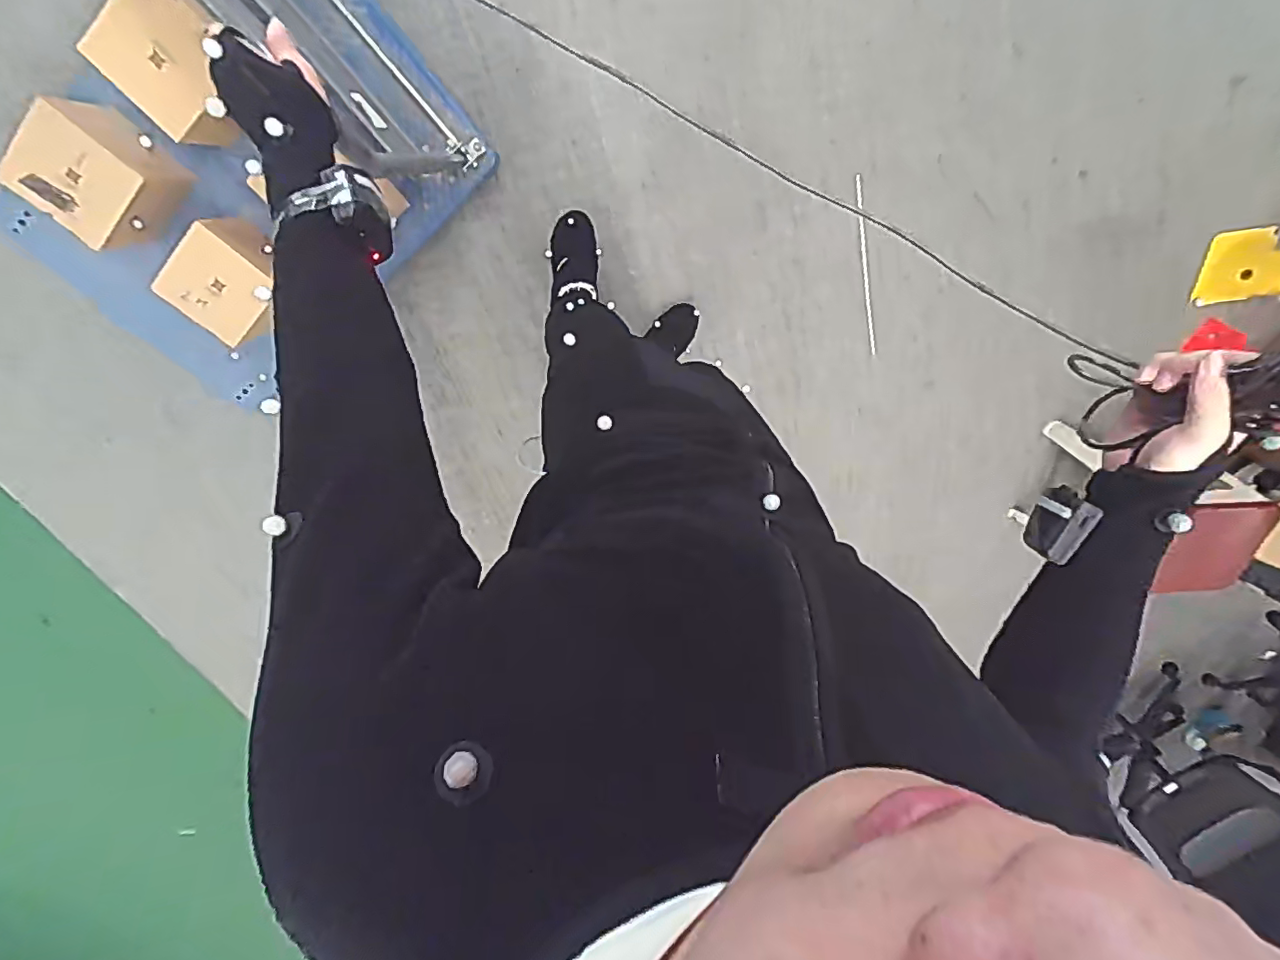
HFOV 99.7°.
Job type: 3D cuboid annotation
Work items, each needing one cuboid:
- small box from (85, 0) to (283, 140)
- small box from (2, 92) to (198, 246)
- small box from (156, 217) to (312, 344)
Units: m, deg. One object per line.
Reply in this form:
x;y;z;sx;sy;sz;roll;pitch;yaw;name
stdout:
-0.773;-0.726;0.941;0.179;0.176;0.168;-36;117;13;small box
-0.984;-0.568;1.004;0.179;0.176;0.168;-41;116;14;small box
-0.813;-0.415;1.108;0.179;0.176;0.168;-40;115;15;small box
